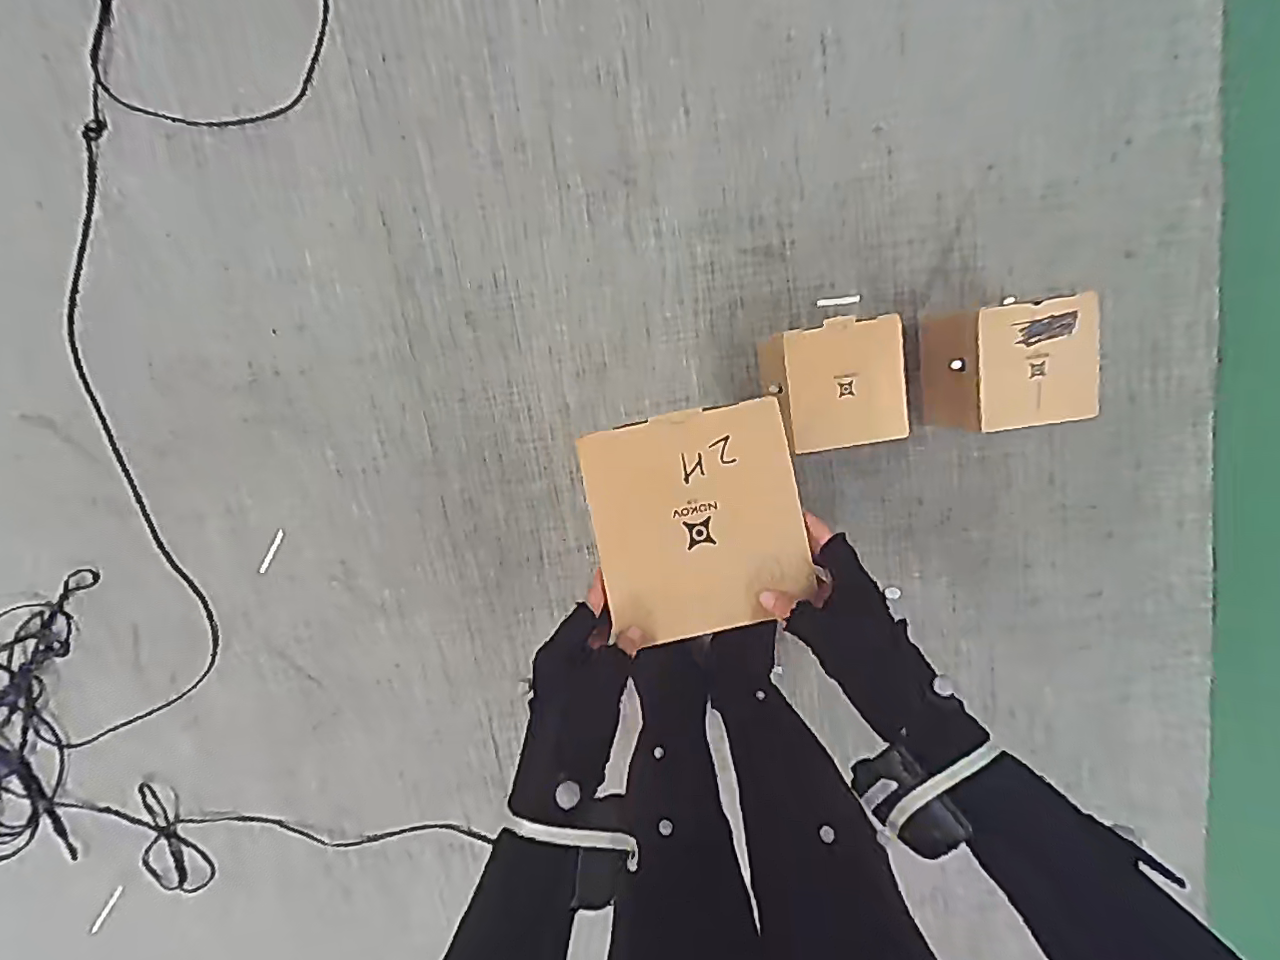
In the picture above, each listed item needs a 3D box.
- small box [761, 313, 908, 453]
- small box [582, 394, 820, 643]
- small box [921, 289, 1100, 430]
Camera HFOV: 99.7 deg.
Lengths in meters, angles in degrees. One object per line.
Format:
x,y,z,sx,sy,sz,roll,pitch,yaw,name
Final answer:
0.292,-0.149,0.839,0.168,0.176,0.179,-9,99,2,small box
0.046,0.030,0.508,0.168,0.176,0.179,-12,89,-4,small box
0.554,-0.178,0.829,0.168,0.176,0.179,-9,100,2,small box
